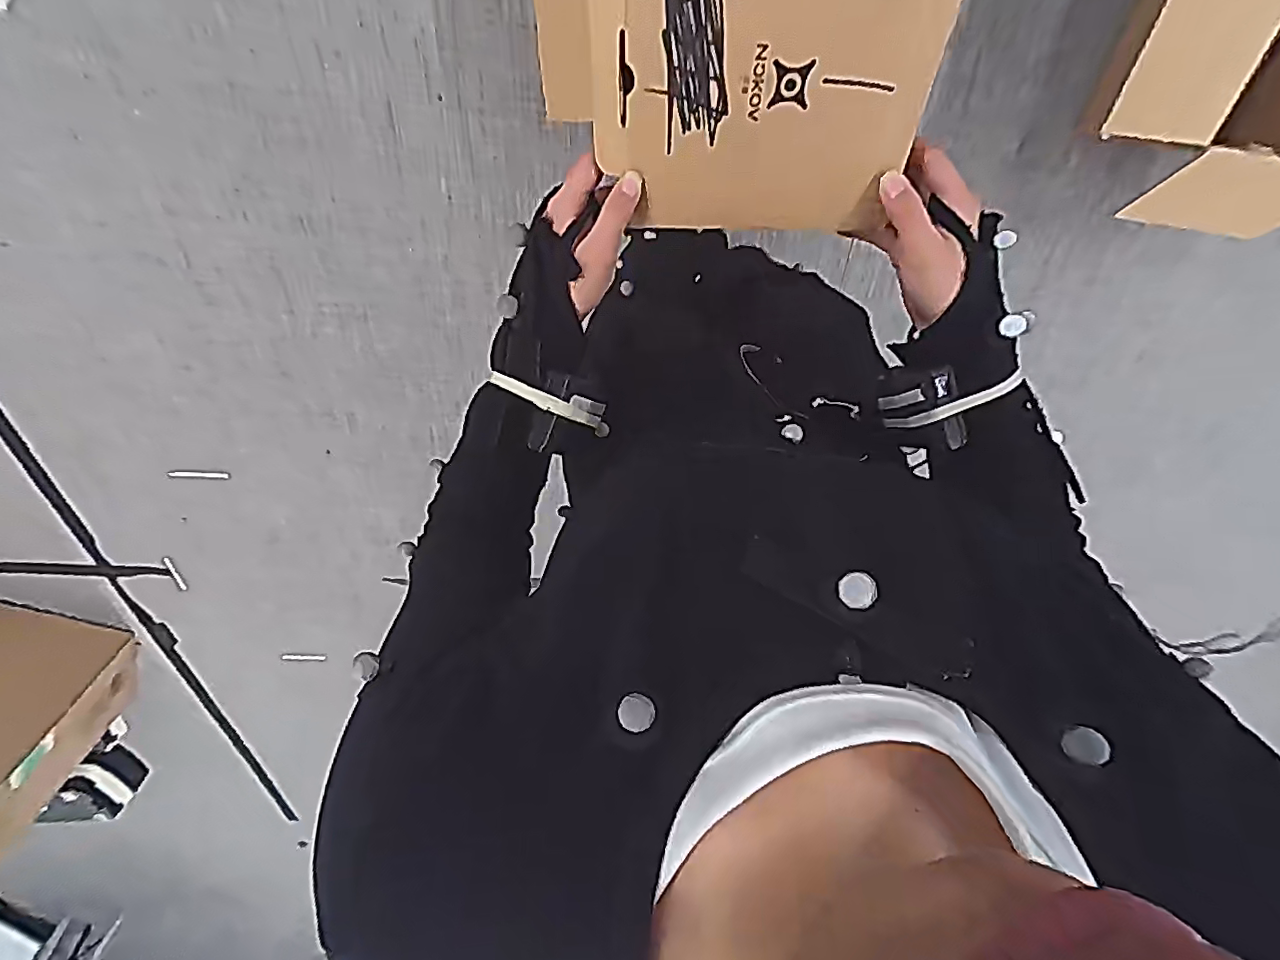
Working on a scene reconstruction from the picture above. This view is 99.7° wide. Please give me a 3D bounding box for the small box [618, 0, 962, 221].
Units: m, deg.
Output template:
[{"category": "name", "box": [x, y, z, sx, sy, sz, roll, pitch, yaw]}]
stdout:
[{"category": "small box", "box": [0.079, -0.287, 0.346, 0.179, 0.176, 0.168, 1, 140, 0]}]
